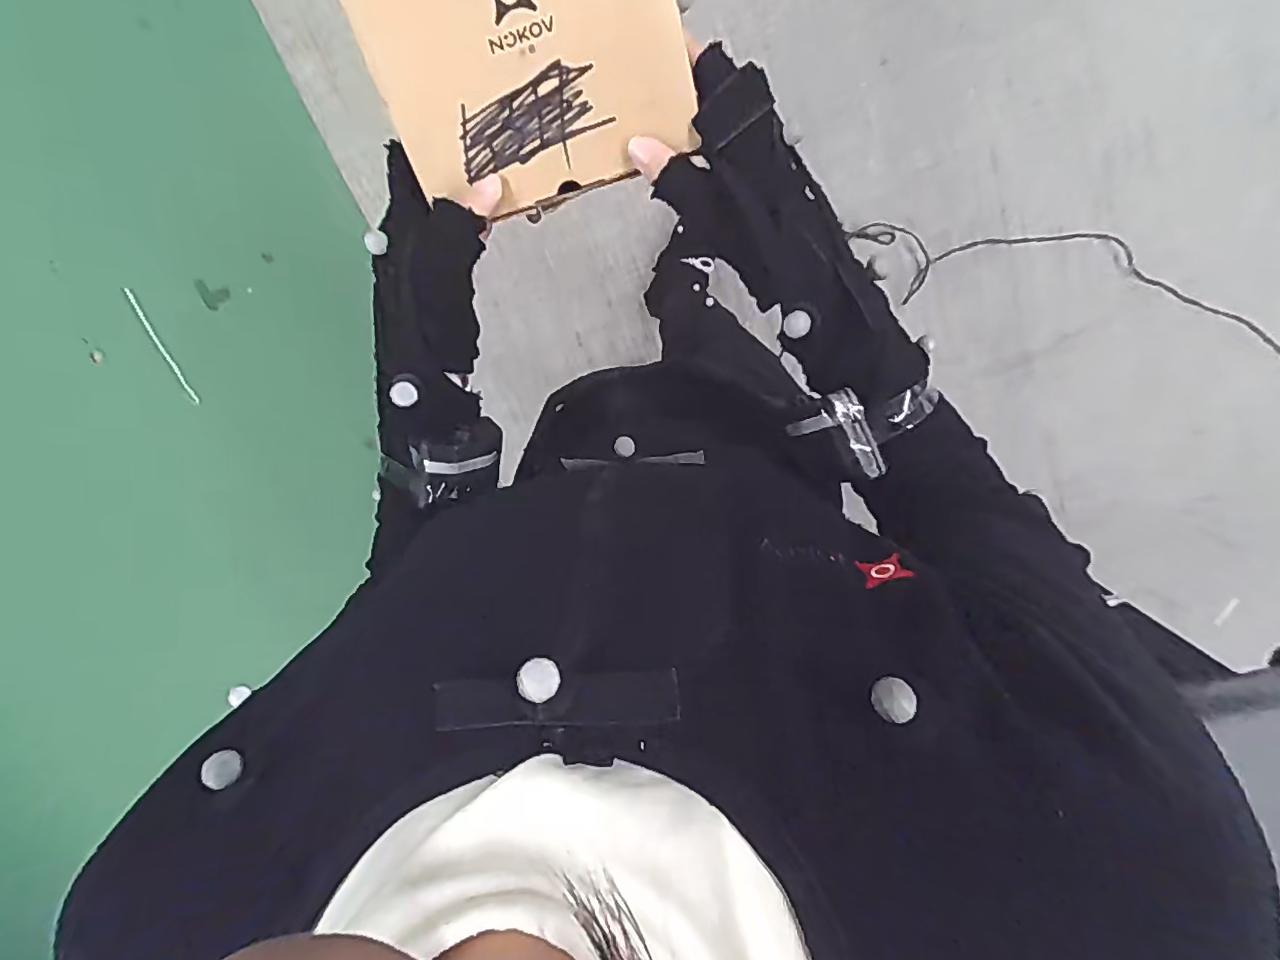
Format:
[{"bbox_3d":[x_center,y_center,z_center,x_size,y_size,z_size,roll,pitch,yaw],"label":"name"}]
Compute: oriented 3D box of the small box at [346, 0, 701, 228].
[{"bbox_3d":[-0.066,-0.291,0.347,0.168,0.176,0.179,-16,121,10],"label":"small box"}]
